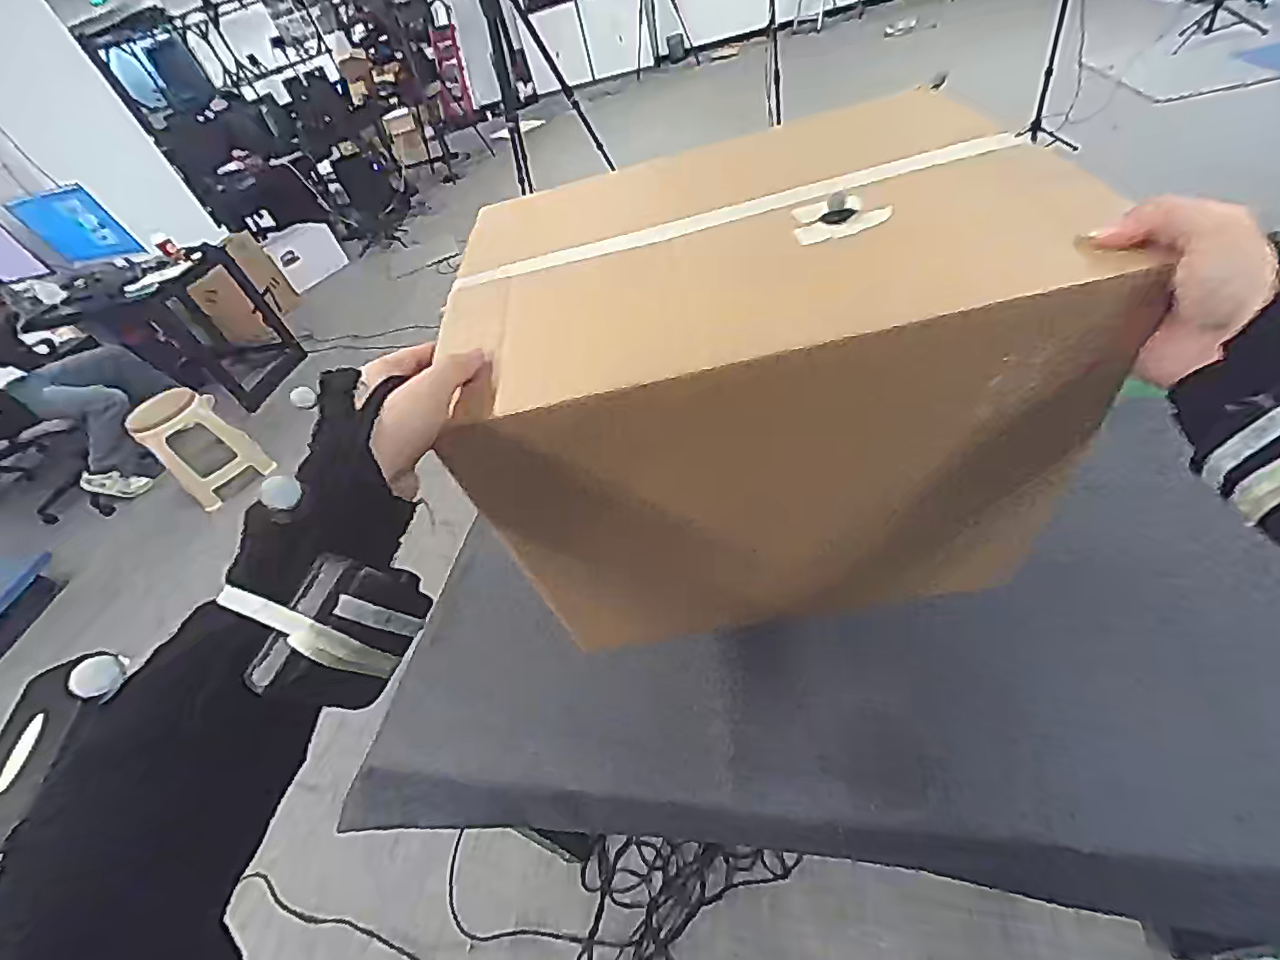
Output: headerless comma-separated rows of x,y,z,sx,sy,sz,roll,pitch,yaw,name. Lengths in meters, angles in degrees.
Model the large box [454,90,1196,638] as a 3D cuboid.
0.103,-0.088,0.495,0.408,0.320,0.320,-11,49,6,large box
